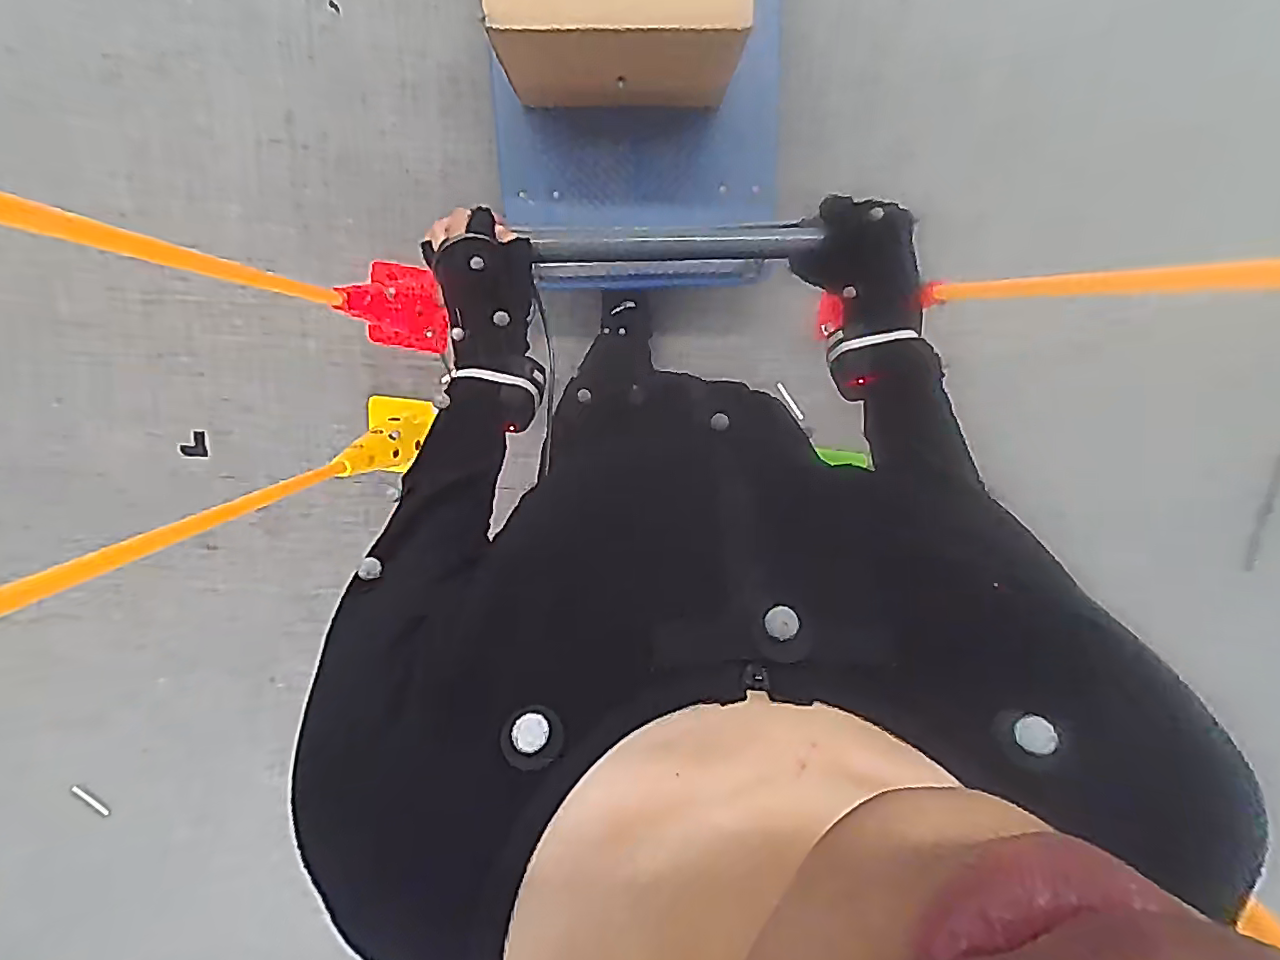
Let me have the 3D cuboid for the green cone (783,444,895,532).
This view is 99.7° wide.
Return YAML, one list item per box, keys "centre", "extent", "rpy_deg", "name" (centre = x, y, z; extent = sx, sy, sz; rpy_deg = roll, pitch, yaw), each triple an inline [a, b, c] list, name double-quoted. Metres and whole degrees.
- centre: [0.510, 0.050, 1.316]
  extent: [0.202, 0.368, 0.200]
  rpy_deg: [7, 104, -4]
  name: "green cone"

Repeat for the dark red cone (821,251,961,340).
- centre: [0.560, -0.412, 1.178]
  extent: [0.201, 0.394, 0.202]
  rpy_deg: [3, 105, -4]
  name: "dark red cone"

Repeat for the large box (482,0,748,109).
- centre: [-0.039, -0.862, 0.918]
  extent: [0.408, 0.320, 0.320]
  rpy_deg: [-1, 106, 0]
  name: "large box"

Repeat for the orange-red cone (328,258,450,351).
- centre: [-0.574, -0.394, 1.180]
  extent: [0.198, 0.360, 0.199]
  rpy_deg: [10, 103, -5]
  name: "orange-red cone"
